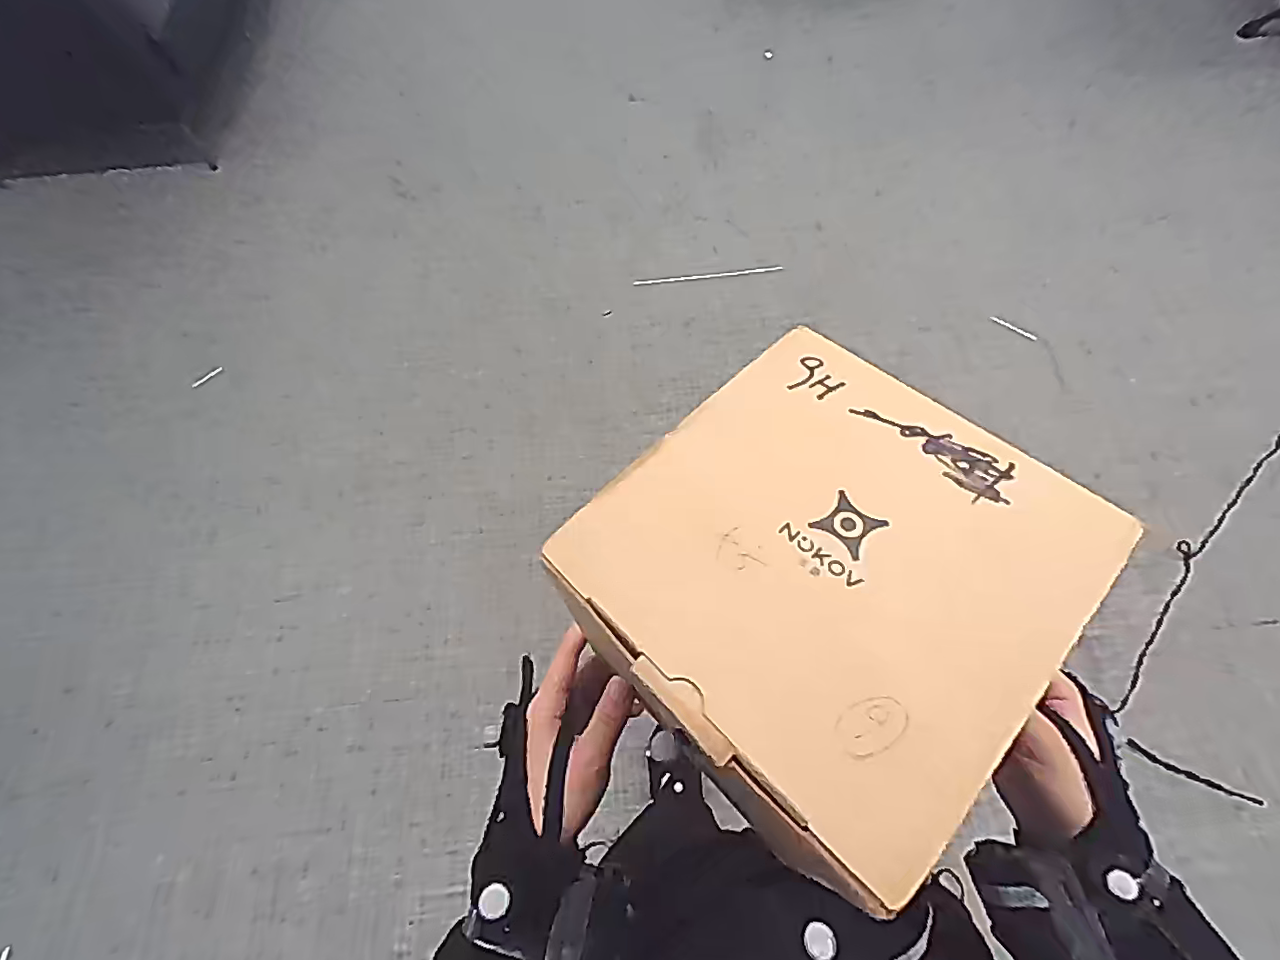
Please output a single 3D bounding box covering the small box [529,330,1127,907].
[{"bbox_3d":[0.077,0.065,0.282,0.179,0.176,0.168,-41,64,-18],"label":"small box"}]
